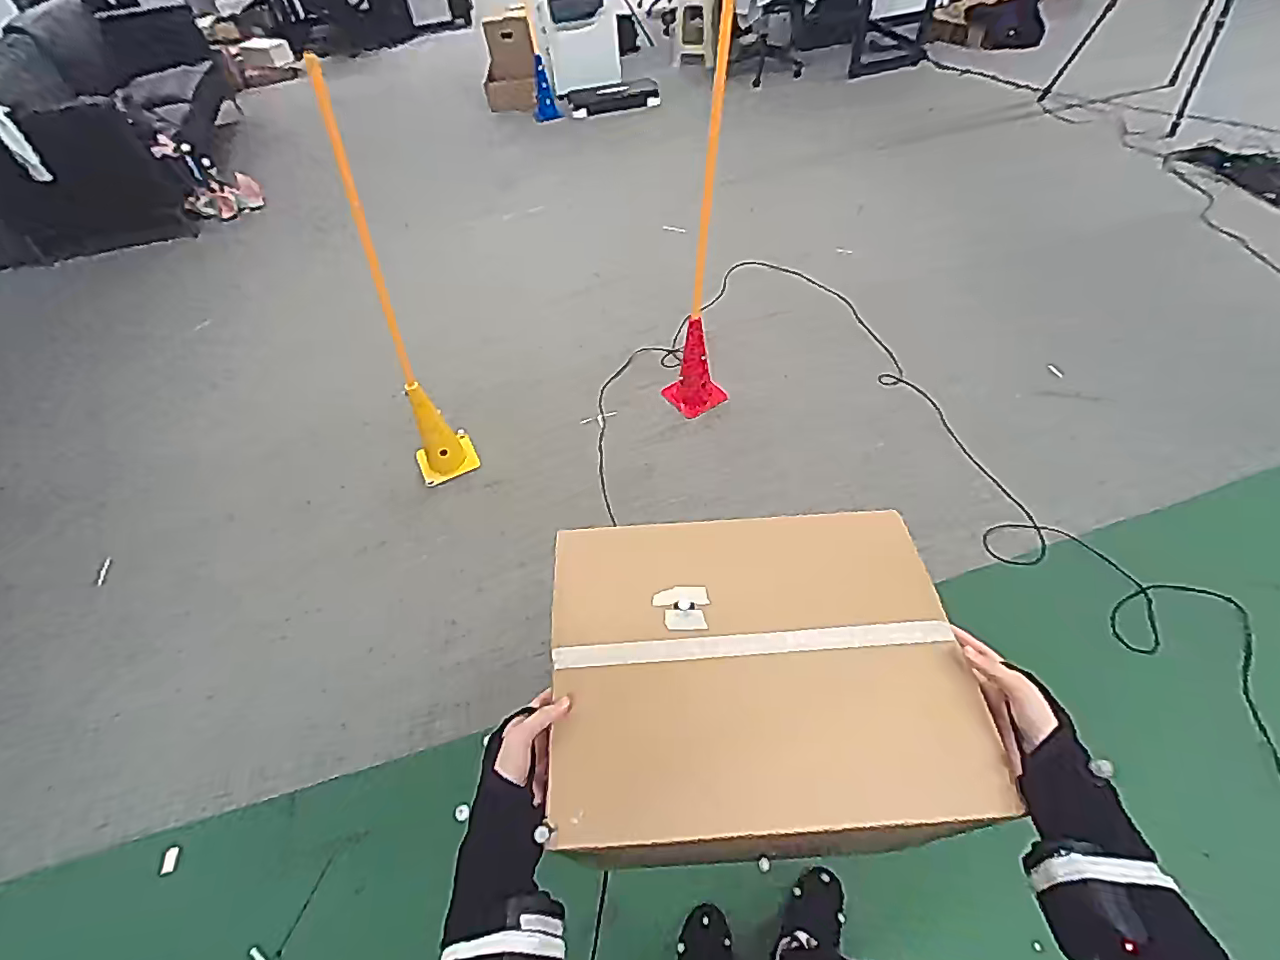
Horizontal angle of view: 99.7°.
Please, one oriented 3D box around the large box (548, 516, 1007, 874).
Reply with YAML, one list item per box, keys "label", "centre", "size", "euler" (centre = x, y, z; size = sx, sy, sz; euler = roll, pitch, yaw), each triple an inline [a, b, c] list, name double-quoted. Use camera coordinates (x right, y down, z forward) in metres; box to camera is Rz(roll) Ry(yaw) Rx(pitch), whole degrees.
- label: "large box"
  centre: [0.116, 0.272, 0.667]
  size: [0.408, 0.320, 0.320]
  euler: [-5, 50, -1]
